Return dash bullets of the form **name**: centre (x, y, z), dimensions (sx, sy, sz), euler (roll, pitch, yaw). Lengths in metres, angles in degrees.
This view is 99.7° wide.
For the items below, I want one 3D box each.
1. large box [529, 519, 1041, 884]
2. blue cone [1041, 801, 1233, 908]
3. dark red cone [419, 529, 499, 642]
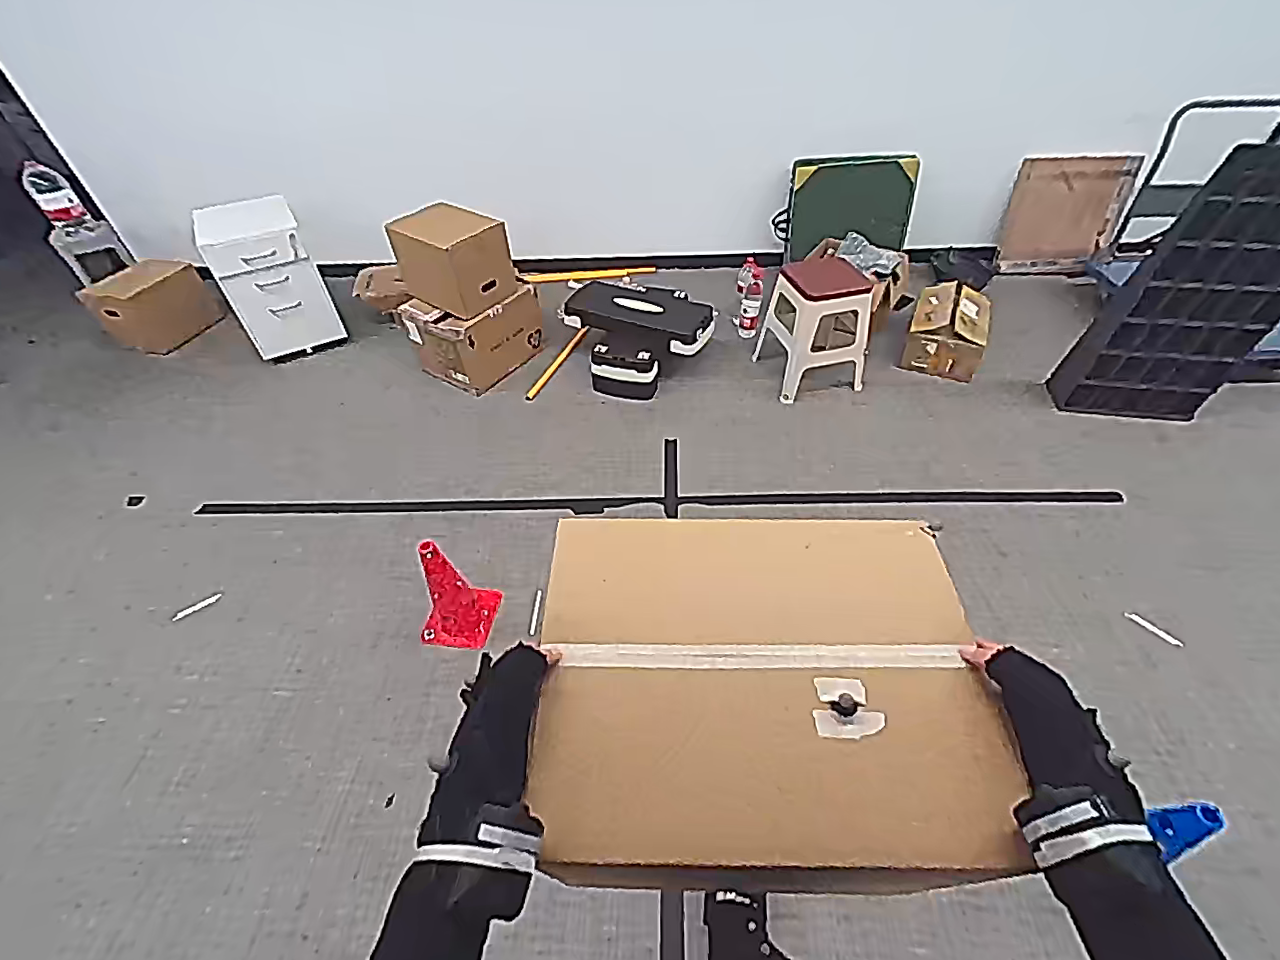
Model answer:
- **large box**: centre (0.111, 0.258, 0.622), dimensions (0.408, 0.320, 0.320), euler (0, 50, 1)
- **blue cone**: centre (1.007, 0.709, 1.077), dimensions (0.192, 0.380, 0.193), euler (3, 46, 4)
- **dark red cone**: centre (-0.545, 0.279, 1.518), dimensions (0.201, 0.394, 0.202), euler (5, 46, 6)
